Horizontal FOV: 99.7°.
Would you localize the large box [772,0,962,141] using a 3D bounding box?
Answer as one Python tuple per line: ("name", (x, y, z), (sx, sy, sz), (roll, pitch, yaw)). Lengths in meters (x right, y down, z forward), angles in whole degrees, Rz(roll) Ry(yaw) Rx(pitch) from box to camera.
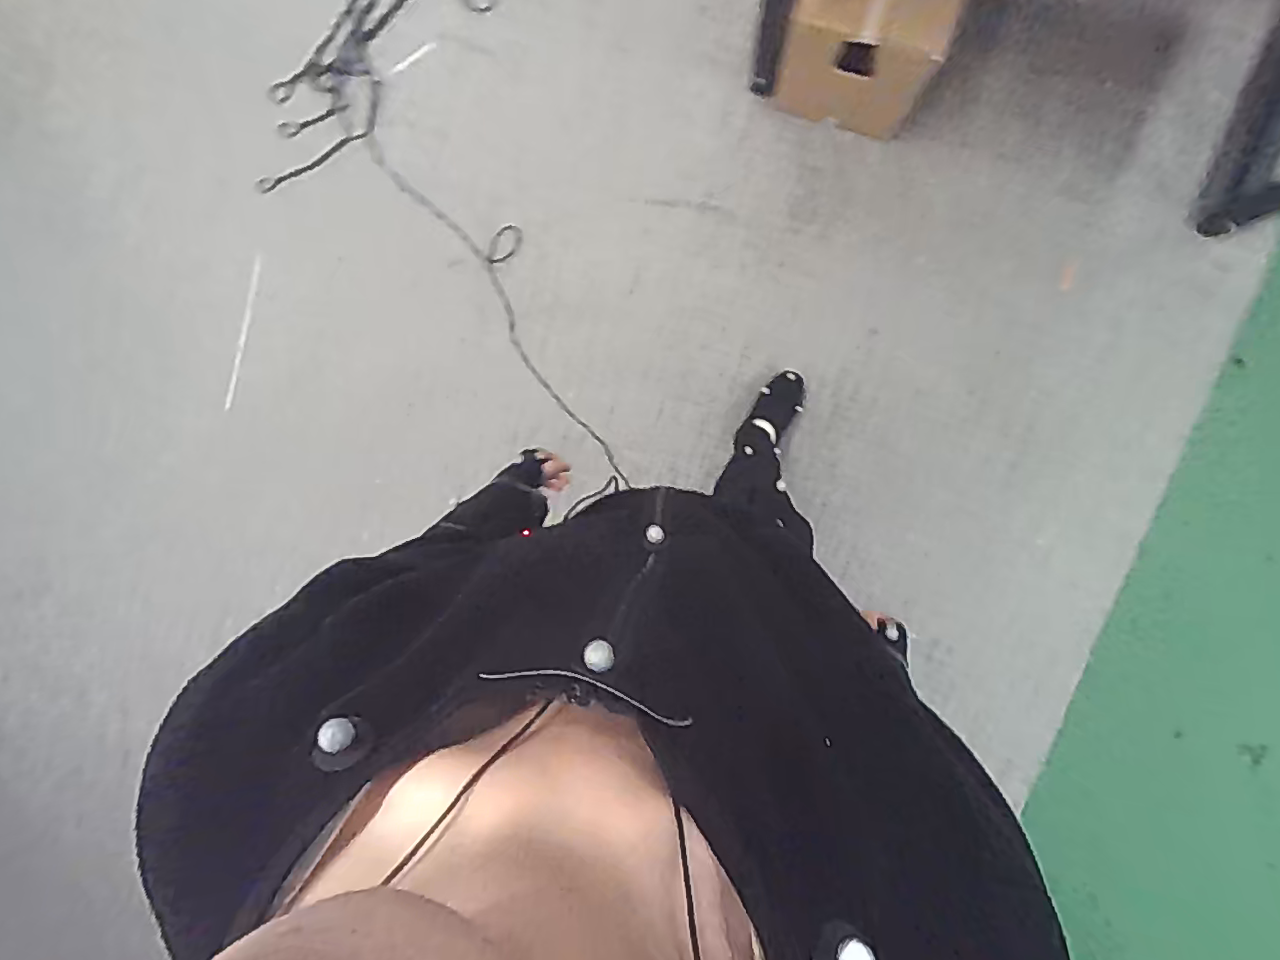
("large box", (0.516, -1.064, 1.195), (0.320, 0.320, 0.408), (18, 98, 5))
